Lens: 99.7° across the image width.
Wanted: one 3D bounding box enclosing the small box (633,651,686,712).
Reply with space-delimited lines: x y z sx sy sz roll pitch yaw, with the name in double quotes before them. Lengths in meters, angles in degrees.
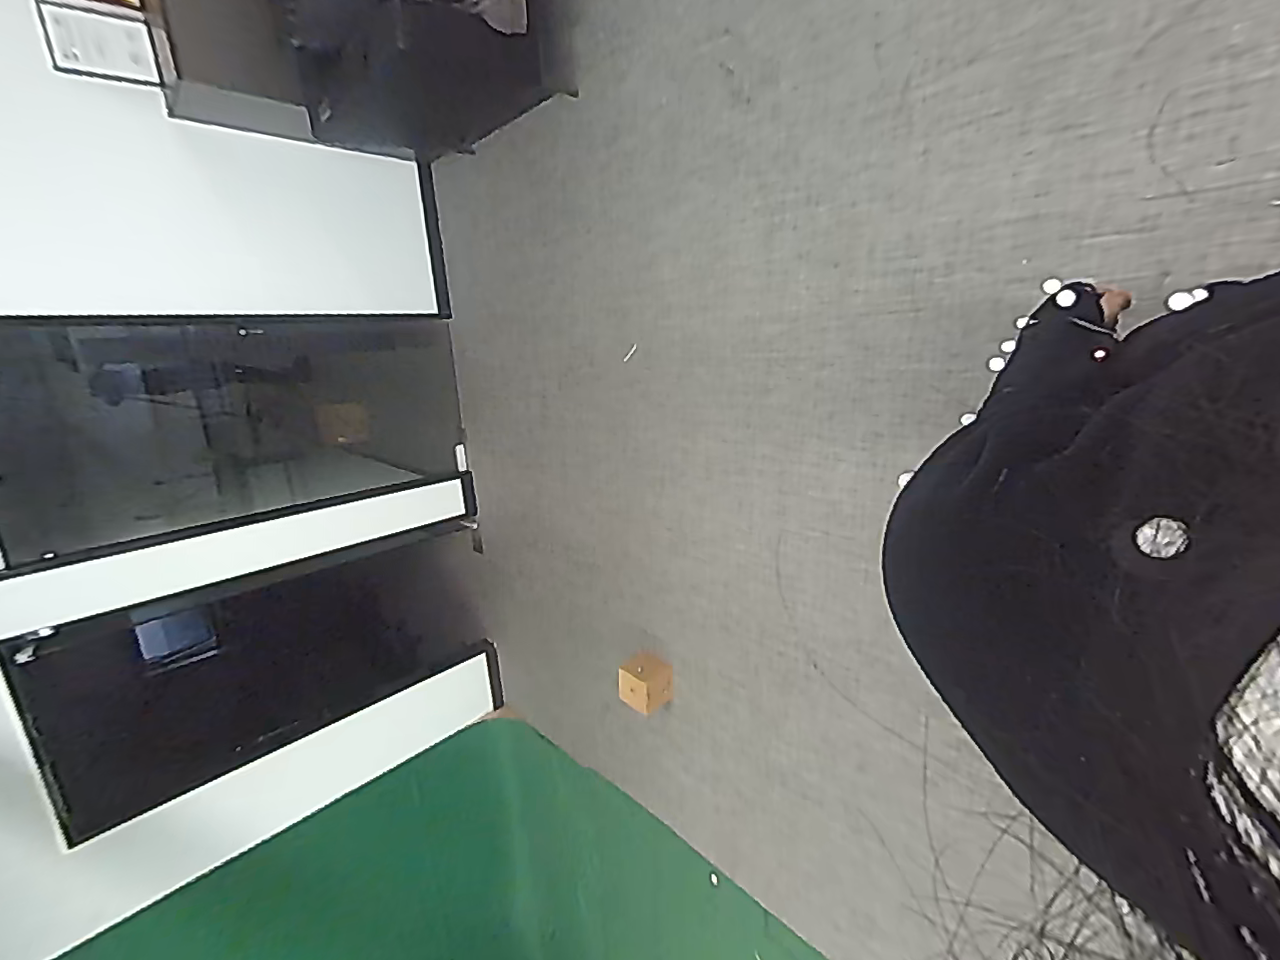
"small box" 0.086 0.891 2.417 0.179 0.176 0.168 15 114 43
